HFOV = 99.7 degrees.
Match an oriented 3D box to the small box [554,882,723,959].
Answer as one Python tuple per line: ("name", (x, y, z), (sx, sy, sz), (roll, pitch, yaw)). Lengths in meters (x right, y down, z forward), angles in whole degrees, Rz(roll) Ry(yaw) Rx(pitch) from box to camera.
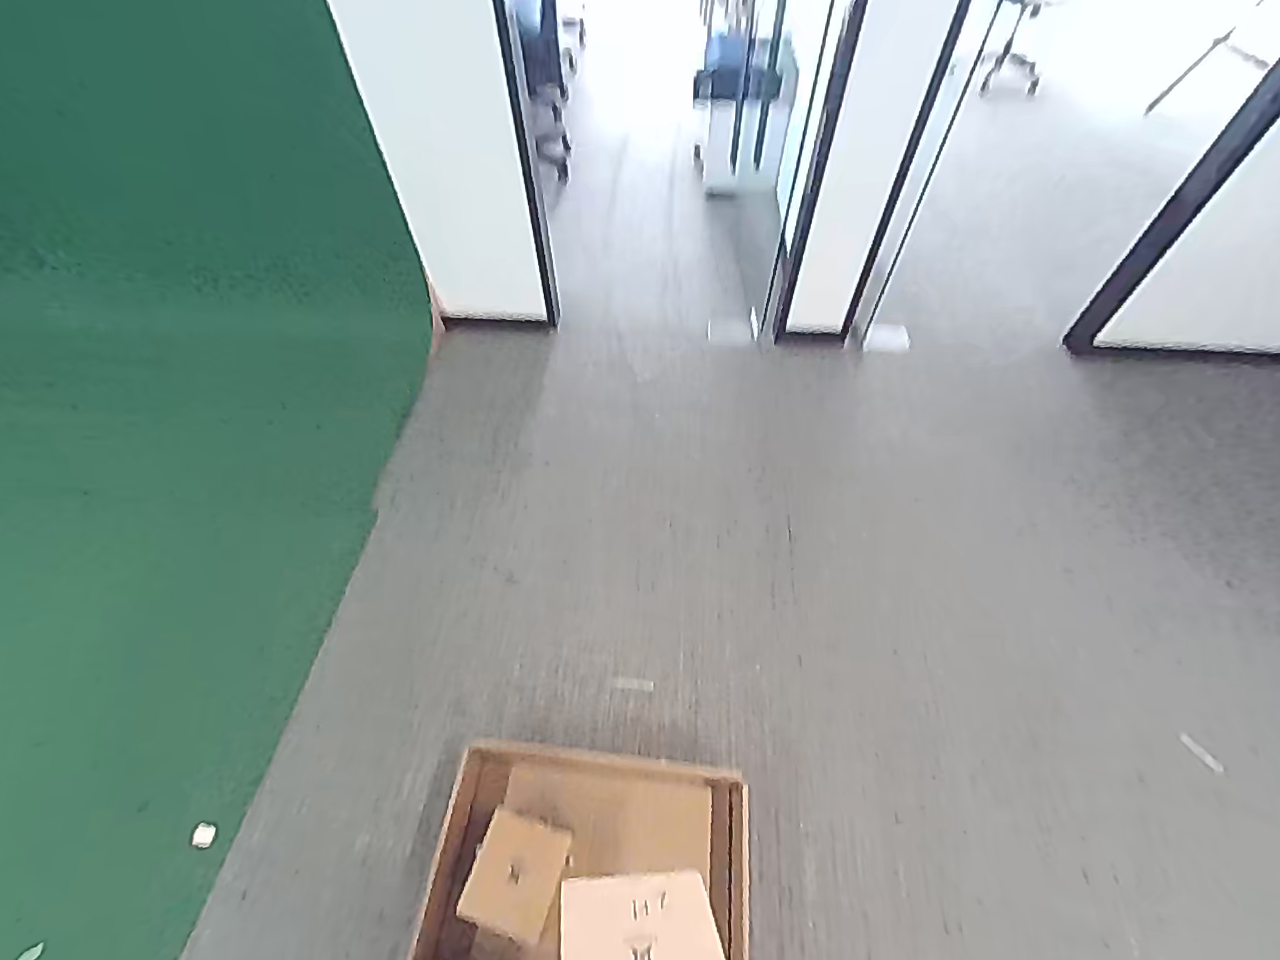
("small box", (-0.004, 0.551, 0.537), (0.168, 0.176, 0.179), (4, 8, -8))

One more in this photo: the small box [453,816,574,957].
("small box", (-0.239, 0.807, 1.079), (0.168, 0.176, 0.179), (14, 53, 10))
